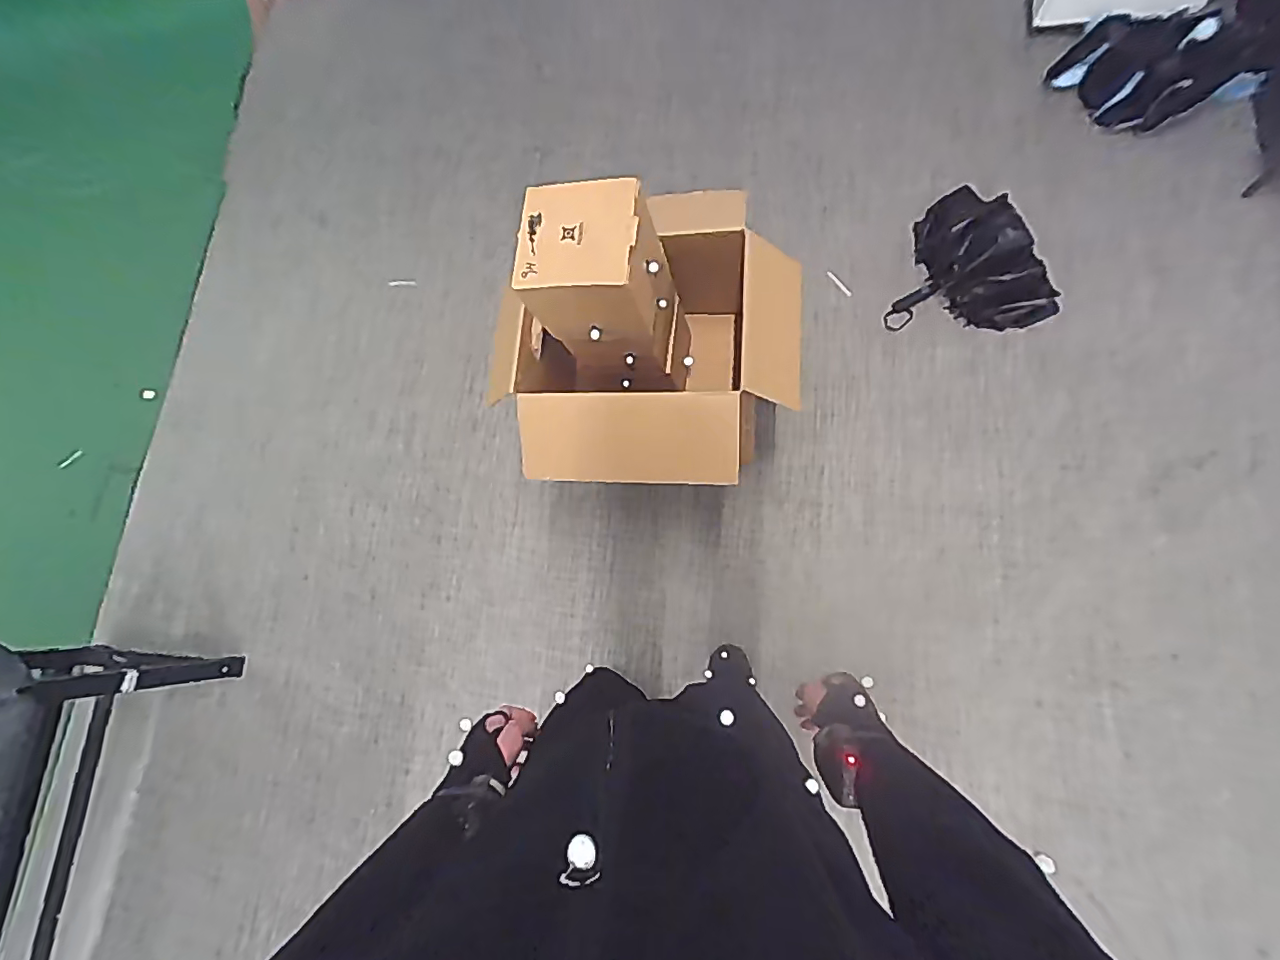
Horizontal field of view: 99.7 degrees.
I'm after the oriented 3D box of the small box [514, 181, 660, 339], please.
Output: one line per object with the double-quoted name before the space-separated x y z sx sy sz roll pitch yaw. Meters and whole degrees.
"small box" -0.070 -0.331 0.842 0.179 0.176 0.168 4 79 13
